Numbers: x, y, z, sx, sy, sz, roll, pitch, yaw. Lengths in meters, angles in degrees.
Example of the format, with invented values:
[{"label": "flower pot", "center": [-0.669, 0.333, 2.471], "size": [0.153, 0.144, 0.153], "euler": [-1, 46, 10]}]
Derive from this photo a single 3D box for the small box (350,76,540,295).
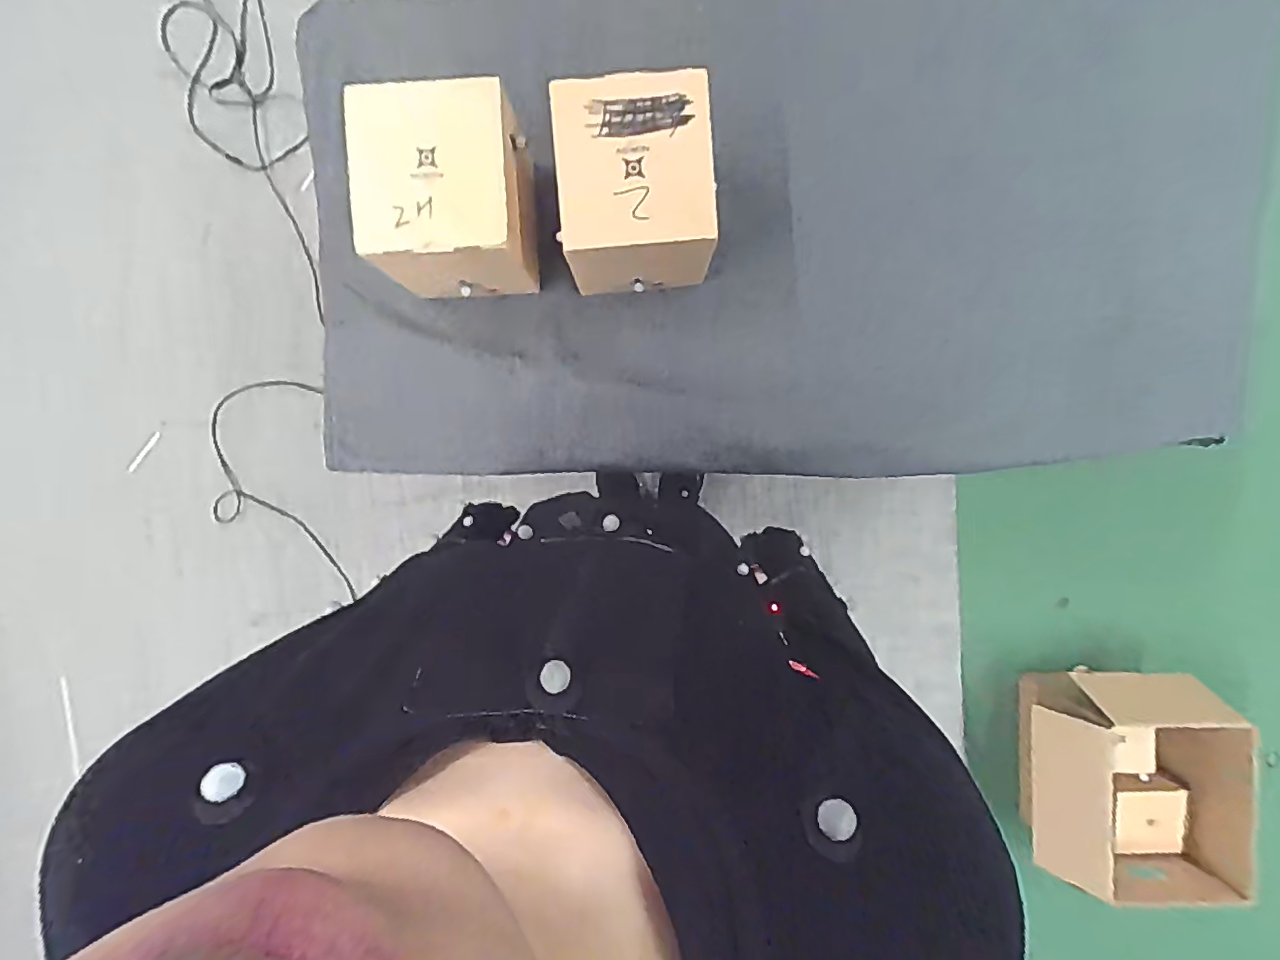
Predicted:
[{"label": "small box", "center": [-0.218, -0.335, 0.646], "size": [0.168, 0.176, 0.179], "euler": [-2, 93, 1]}]
